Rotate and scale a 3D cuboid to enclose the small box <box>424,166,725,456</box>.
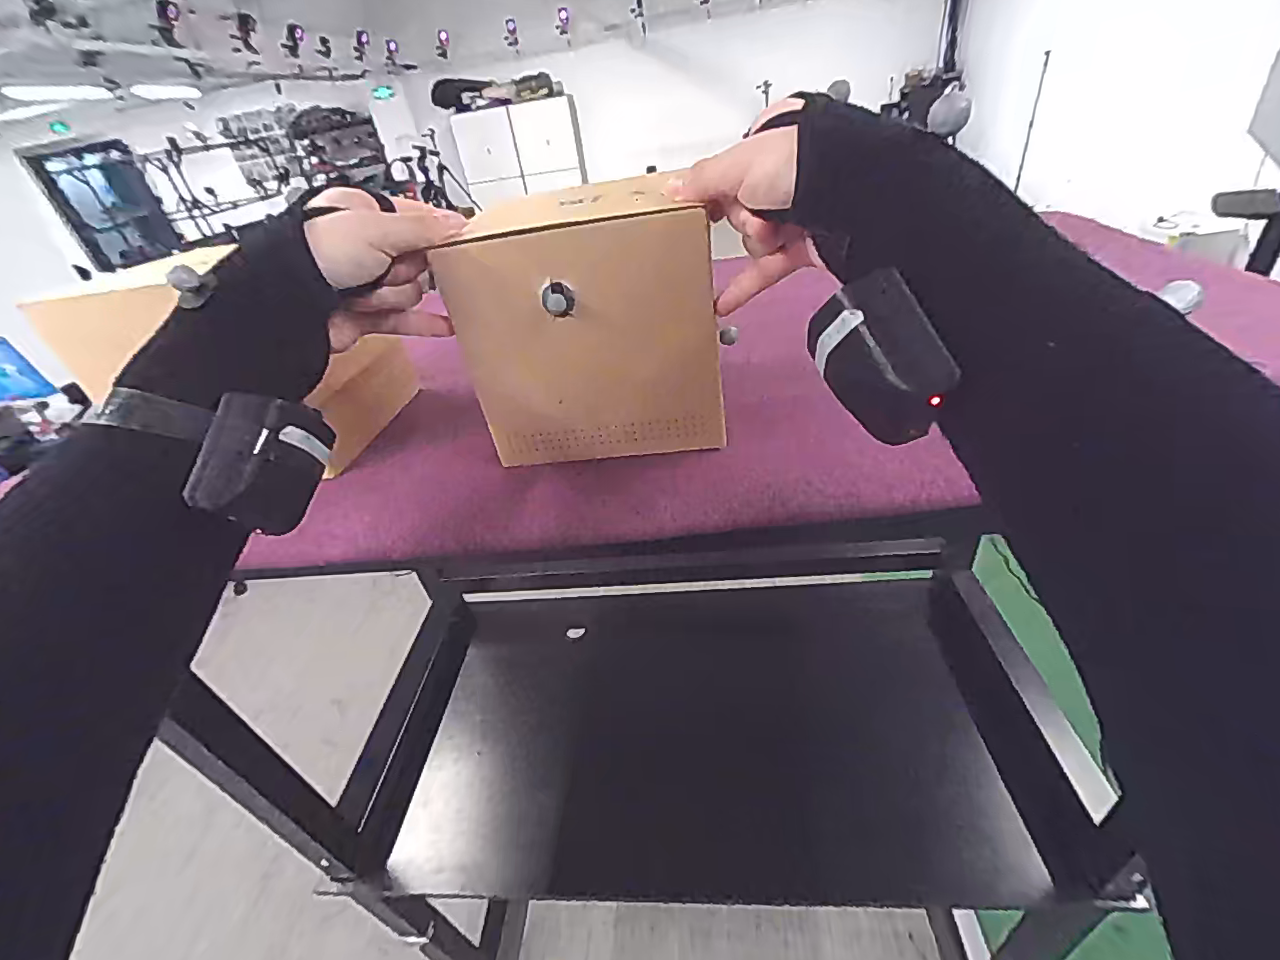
[{"bbox_3d":[-0.029,-0.131,0.426,0.179,0.176,0.168,-5,36,9],"label":"small box"}]

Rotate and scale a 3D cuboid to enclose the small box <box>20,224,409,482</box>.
[{"bbox_3d":[-0.334,-0.108,0.475,0.168,0.176,0.179,-5,33,8],"label":"small box"}]
